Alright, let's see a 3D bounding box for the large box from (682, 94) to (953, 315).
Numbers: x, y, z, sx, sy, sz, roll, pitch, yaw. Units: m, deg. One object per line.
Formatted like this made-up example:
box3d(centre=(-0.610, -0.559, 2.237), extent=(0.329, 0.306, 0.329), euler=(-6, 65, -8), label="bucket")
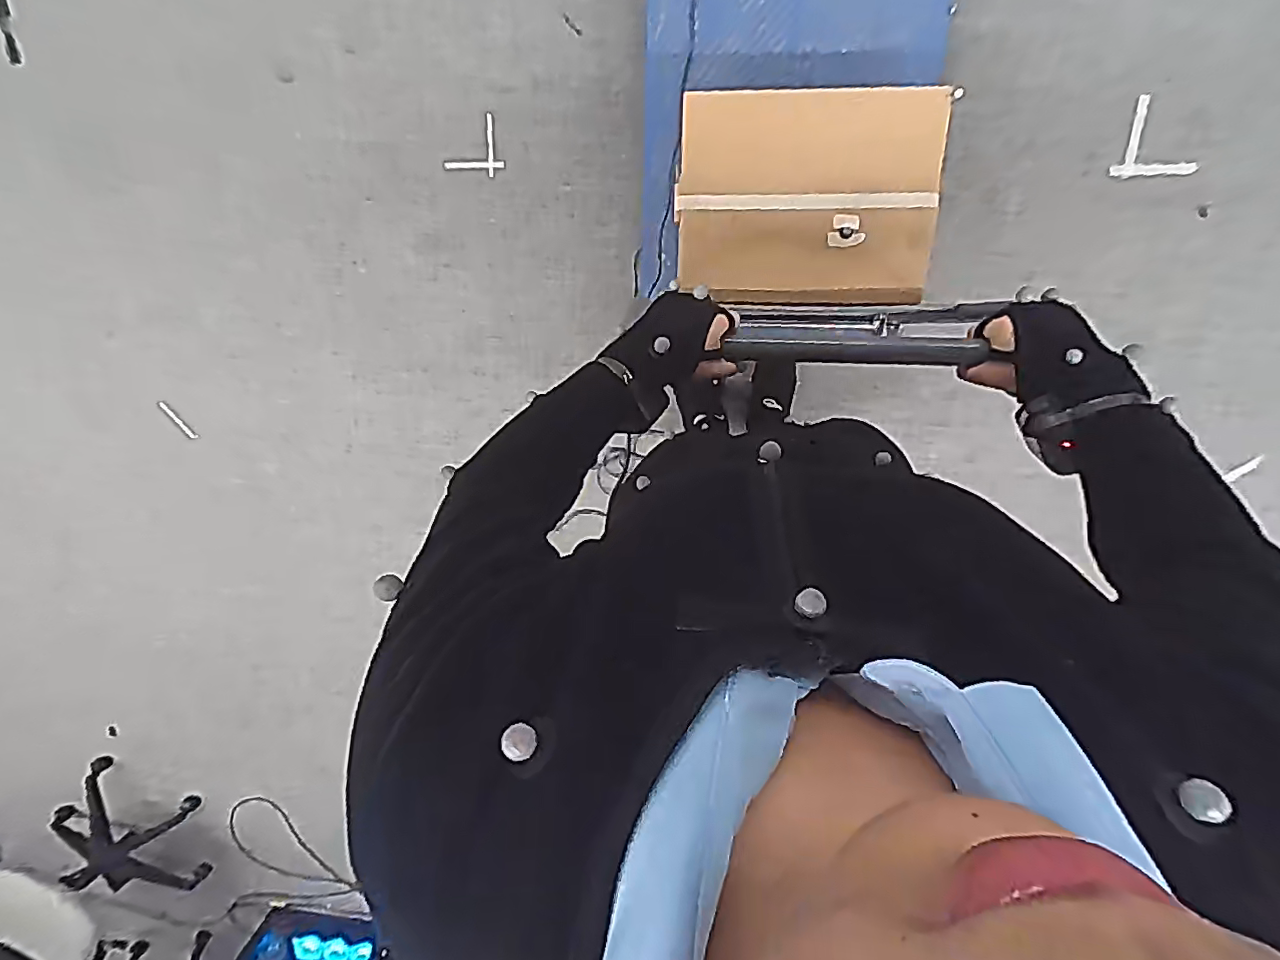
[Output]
box3d(centre=(0.280, -0.471, 1.000), extent=(0.408, 0.320, 0.320), euler=(2, 107, 5), label="large box")
